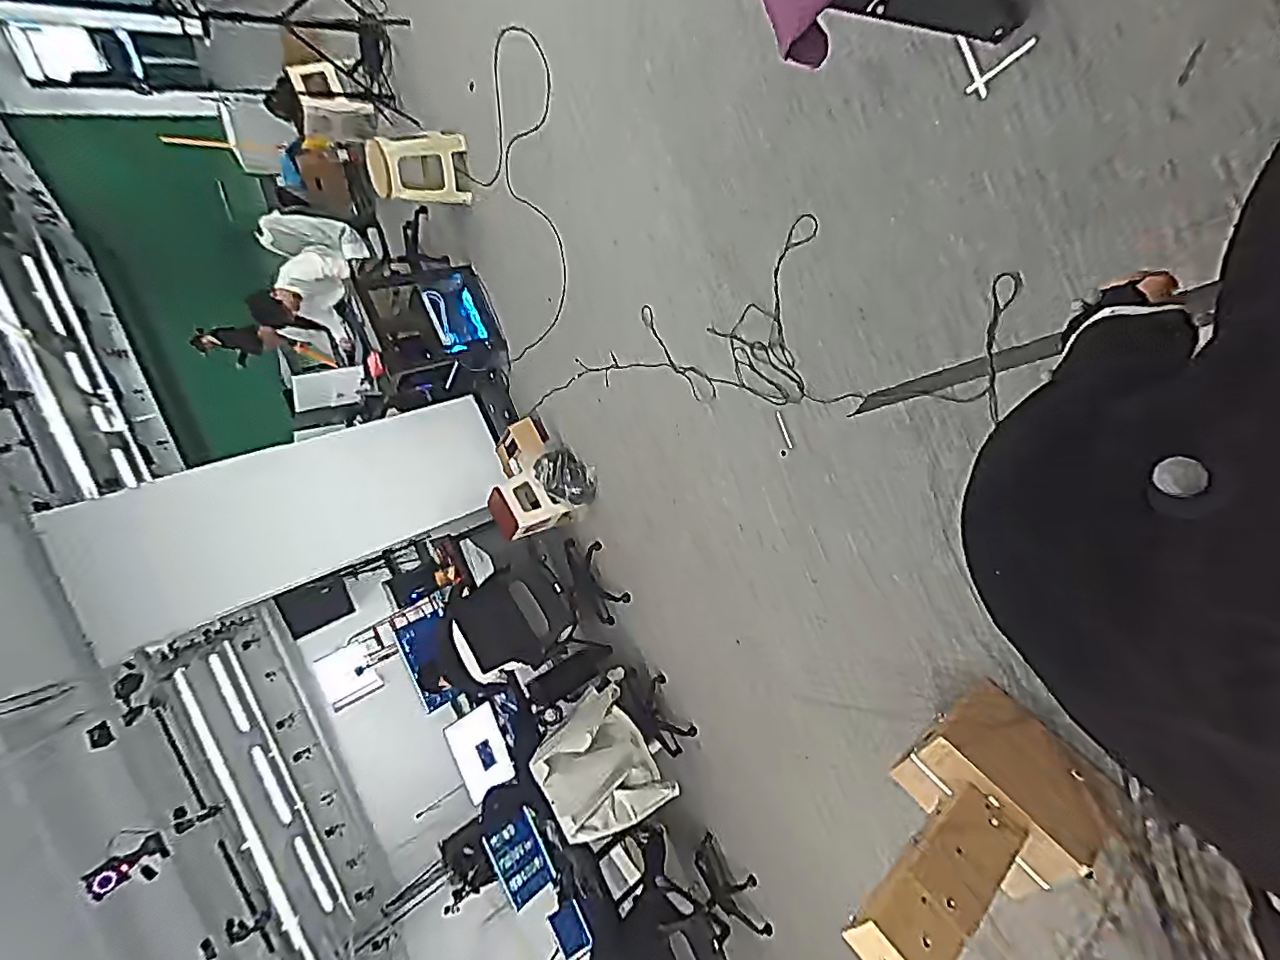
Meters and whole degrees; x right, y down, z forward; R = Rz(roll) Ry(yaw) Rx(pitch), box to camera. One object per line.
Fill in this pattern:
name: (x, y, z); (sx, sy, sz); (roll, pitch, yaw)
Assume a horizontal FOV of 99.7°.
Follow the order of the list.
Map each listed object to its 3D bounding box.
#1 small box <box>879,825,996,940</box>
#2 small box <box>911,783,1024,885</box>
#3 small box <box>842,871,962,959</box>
small box: (0.748, 1.016, 1.360); (0.168, 0.176, 0.179); (44, 142, 31)
small box: (0.876, 0.957, 1.445); (0.168, 0.176, 0.179); (44, 141, 31)
small box: (0.620, 1.068, 1.274); (0.168, 0.176, 0.179); (43, 142, 31)
